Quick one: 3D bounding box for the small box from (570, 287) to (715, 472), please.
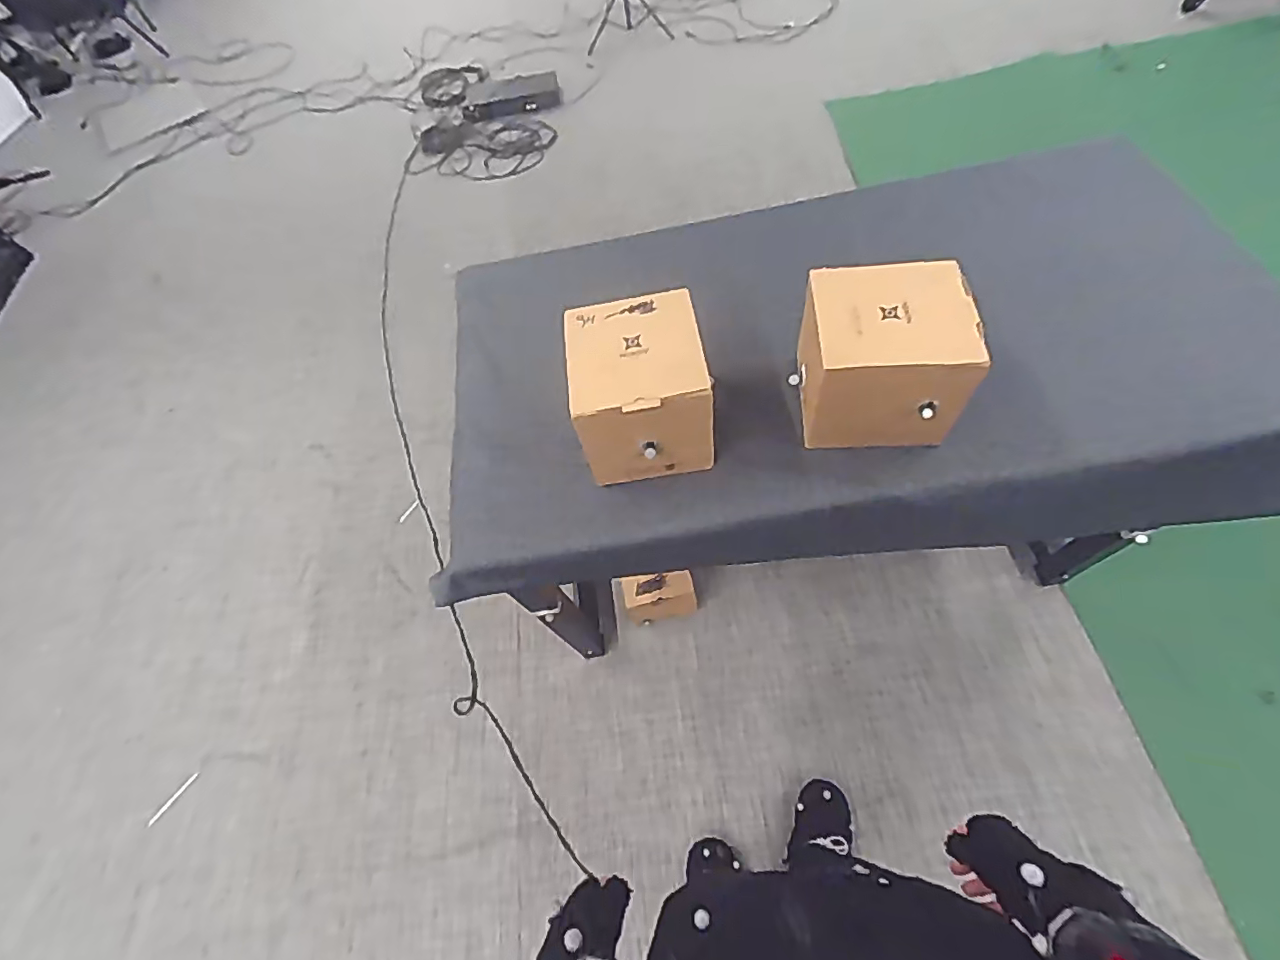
[{"bbox_3d":[0.008,-0.123,0.726,0.168,0.176,0.179,-8,61,3],"label":"small box"}]

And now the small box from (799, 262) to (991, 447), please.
[{"bbox_3d":[0.311,-0.154,0.702,0.179,0.176,0.168,-1,61,9],"label":"small box"}]

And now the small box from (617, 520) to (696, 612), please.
[{"bbox_3d":[0.045,0.225,1.370,0.168,0.176,0.179,-12,61,1],"label":"small box"}]
